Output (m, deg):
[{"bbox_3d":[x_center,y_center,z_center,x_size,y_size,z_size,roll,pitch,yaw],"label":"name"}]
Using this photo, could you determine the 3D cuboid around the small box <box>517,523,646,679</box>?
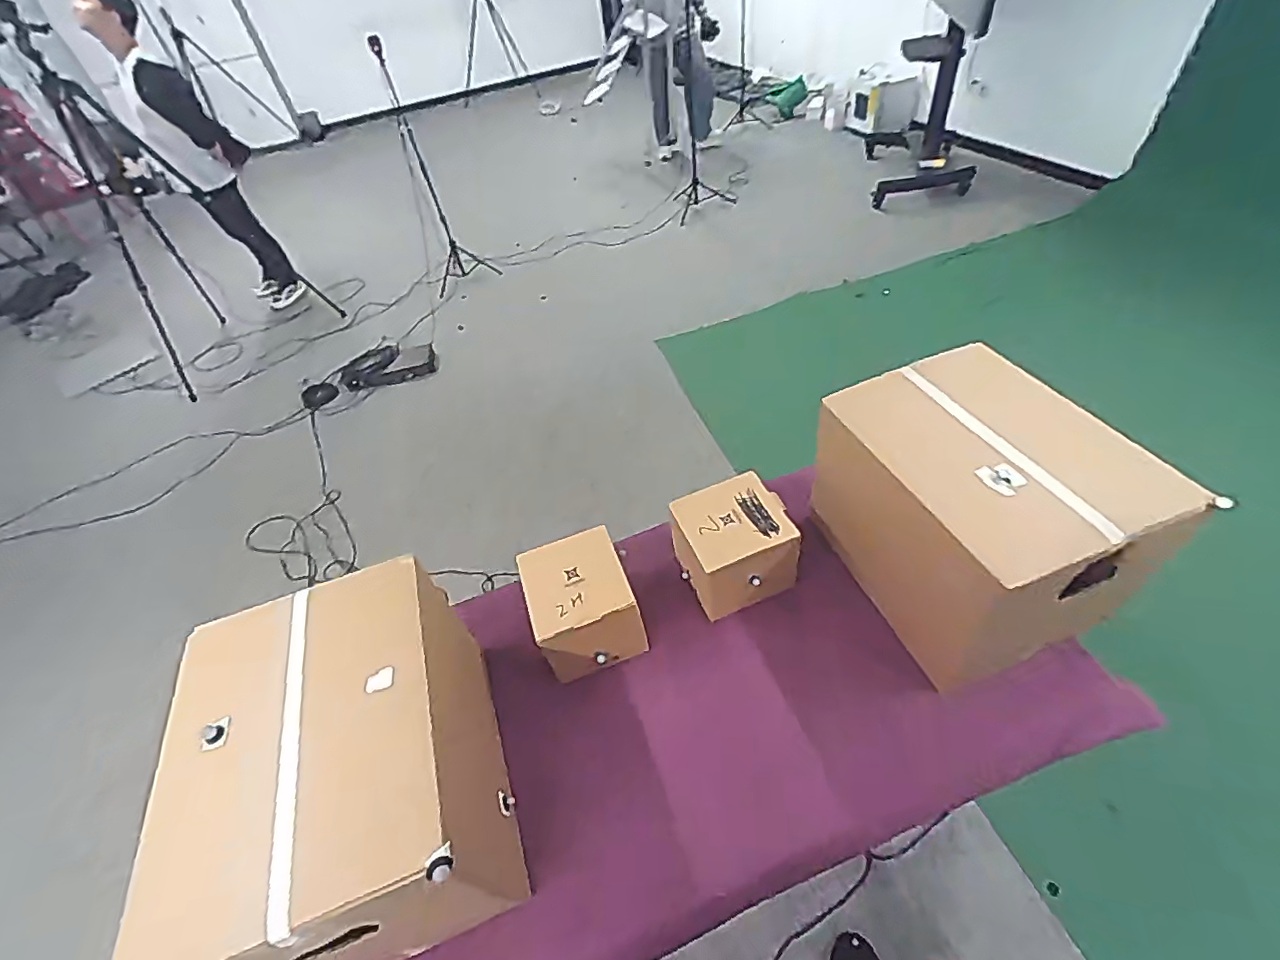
[{"bbox_3d":[-0.100,0.212,0.943,0.168,0.176,0.179,-20,48,-7],"label":"small box"}]

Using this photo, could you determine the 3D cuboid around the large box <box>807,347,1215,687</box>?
[{"bbox_3d":[0.526,0.050,0.888,0.320,0.320,0.408,-20,48,-7],"label":"large box"}]
